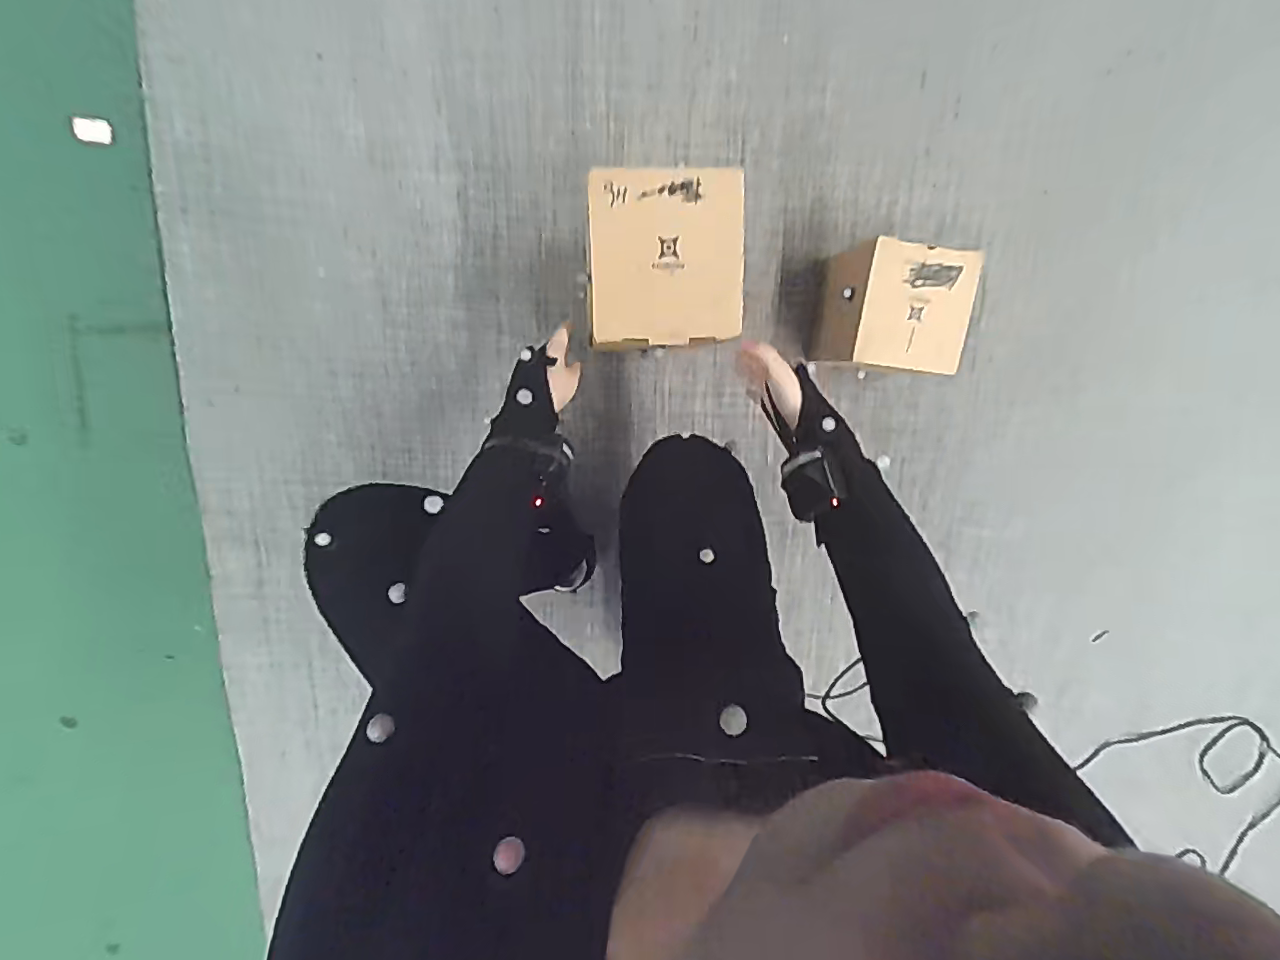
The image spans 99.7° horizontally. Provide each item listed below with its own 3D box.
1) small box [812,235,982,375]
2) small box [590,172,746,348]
[{"bbox_3d":[0.392,-0.266,0.857,0.168,0.176,0.179,6,102,-6],"label":"small box"},{"bbox_3d":[0.025,-0.251,0.657,0.168,0.176,0.179,-2,102,-5],"label":"small box"}]
